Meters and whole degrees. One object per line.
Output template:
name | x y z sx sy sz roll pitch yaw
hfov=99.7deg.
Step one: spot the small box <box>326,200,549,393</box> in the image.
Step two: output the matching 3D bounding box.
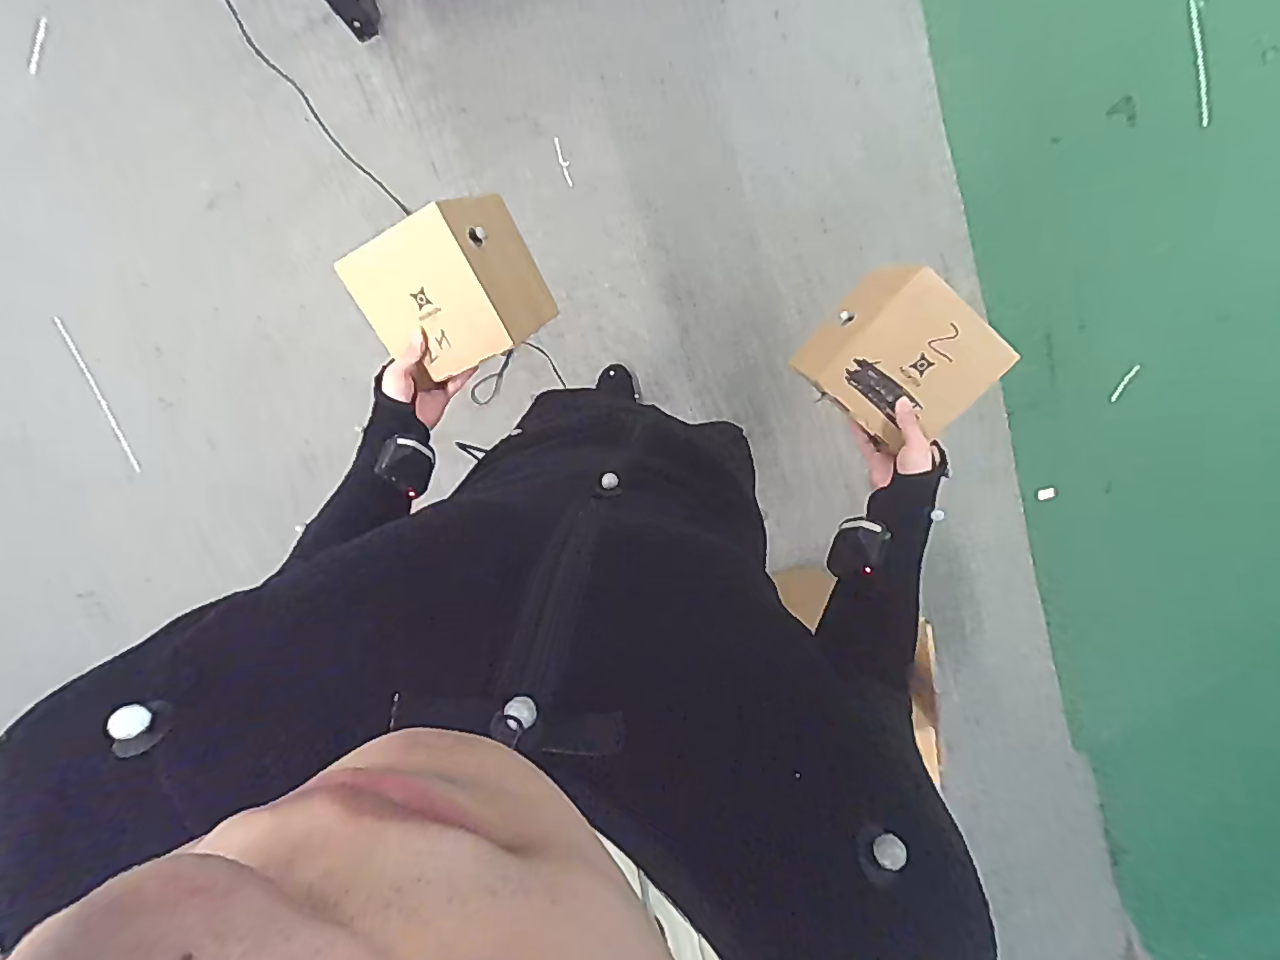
small box | -0.247 -0.243 0.703 0.168 0.176 0.179 -17 115 22
